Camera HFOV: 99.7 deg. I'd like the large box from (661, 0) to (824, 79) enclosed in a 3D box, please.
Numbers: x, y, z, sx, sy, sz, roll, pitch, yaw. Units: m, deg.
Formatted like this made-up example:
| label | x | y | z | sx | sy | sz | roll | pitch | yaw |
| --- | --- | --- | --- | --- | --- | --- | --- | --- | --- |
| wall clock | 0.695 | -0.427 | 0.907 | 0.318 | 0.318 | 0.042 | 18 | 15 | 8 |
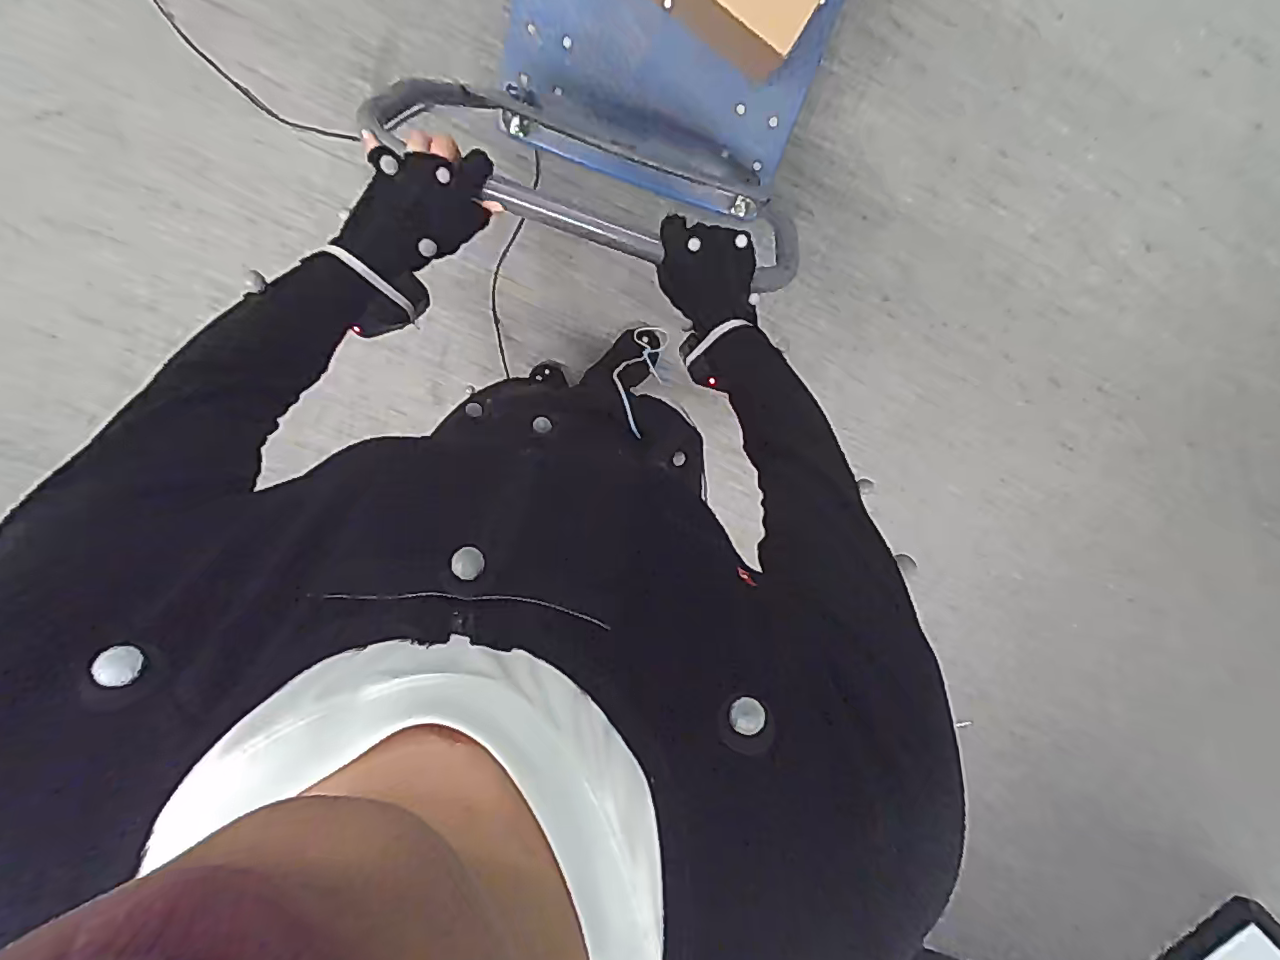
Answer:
| label | x | y | z | sx | sy | sz | roll | pitch | yaw |
| --- | --- | --- | --- | --- | --- | --- | --- | --- | --- |
| large box | 0.136 | -0.886 | 0.796 | 0.408 | 0.320 | 0.320 | 31 | 118 | -13 |
